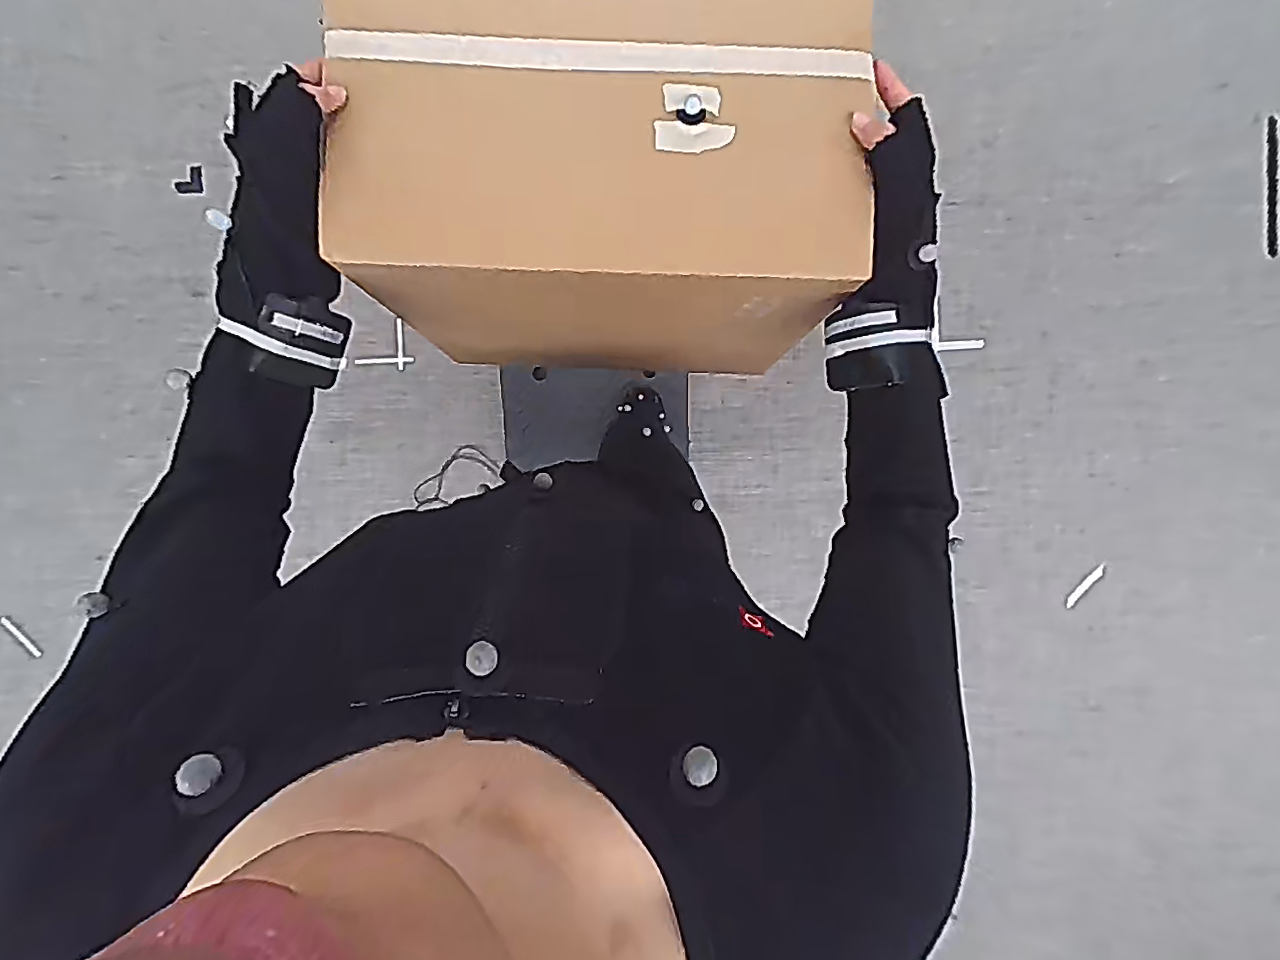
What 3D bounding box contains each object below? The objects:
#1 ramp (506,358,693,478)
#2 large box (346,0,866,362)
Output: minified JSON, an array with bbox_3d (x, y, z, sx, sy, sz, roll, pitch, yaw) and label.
[{"bbox_3d":[-0.108,-0.500,1.375,0.509,0.206,0.991,-4,93,-3],"label":"ramp"},{"bbox_3d":[-0.028,-0.314,0.566,0.408,0.320,0.320,1,88,-2],"label":"large box"}]
